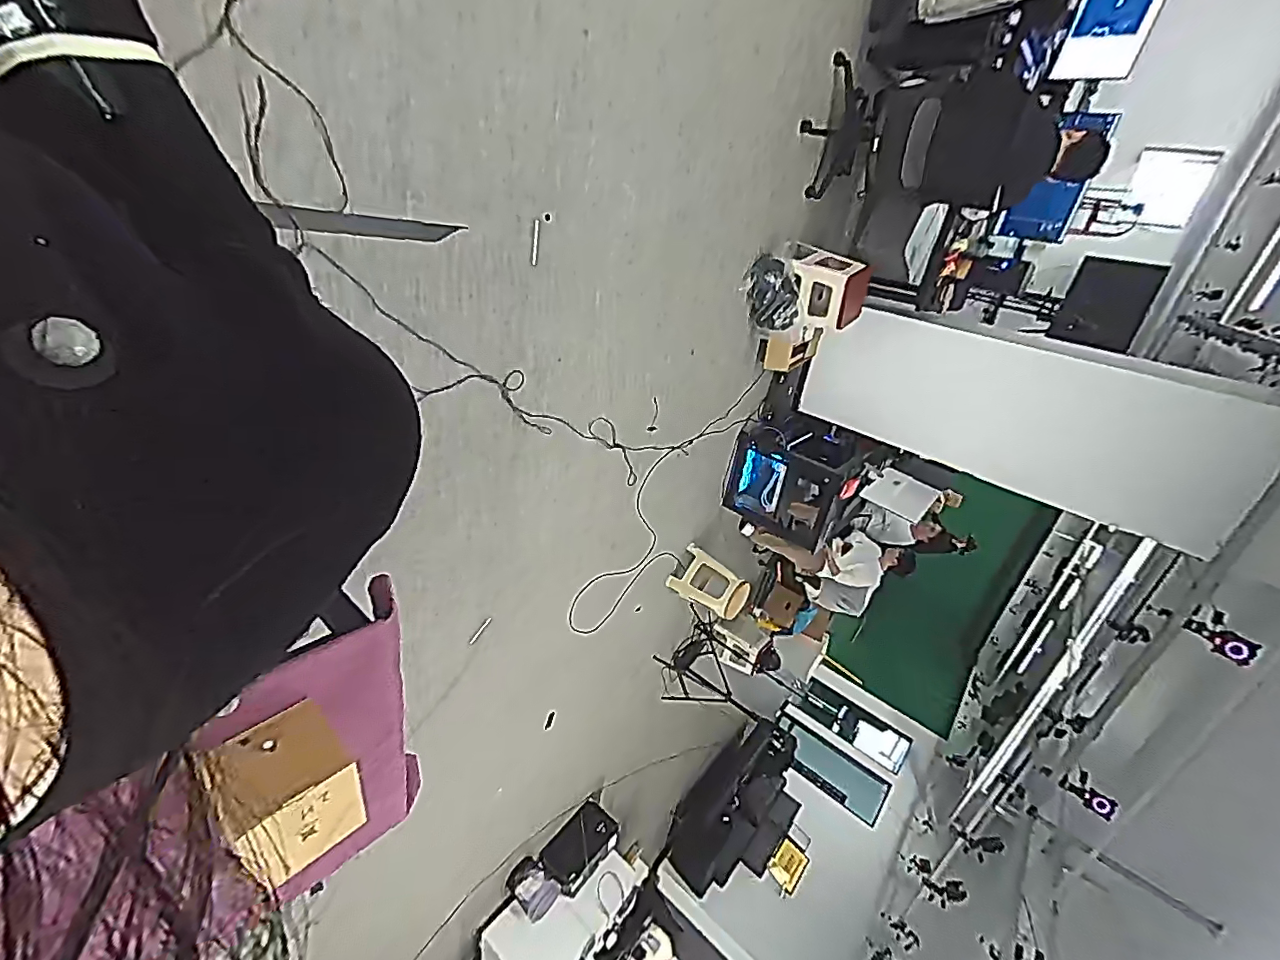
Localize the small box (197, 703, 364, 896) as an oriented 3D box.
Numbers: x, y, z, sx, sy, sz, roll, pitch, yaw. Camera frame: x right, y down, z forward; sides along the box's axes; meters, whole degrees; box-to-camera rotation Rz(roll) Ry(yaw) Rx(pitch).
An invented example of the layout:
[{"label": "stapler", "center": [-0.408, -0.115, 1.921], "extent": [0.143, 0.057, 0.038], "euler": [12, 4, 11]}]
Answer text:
[{"label": "small box", "center": [-0.579, 0.507, 0.880], "extent": [0.168, 0.176, 0.179], "euler": [-26, 134, -46]}]
